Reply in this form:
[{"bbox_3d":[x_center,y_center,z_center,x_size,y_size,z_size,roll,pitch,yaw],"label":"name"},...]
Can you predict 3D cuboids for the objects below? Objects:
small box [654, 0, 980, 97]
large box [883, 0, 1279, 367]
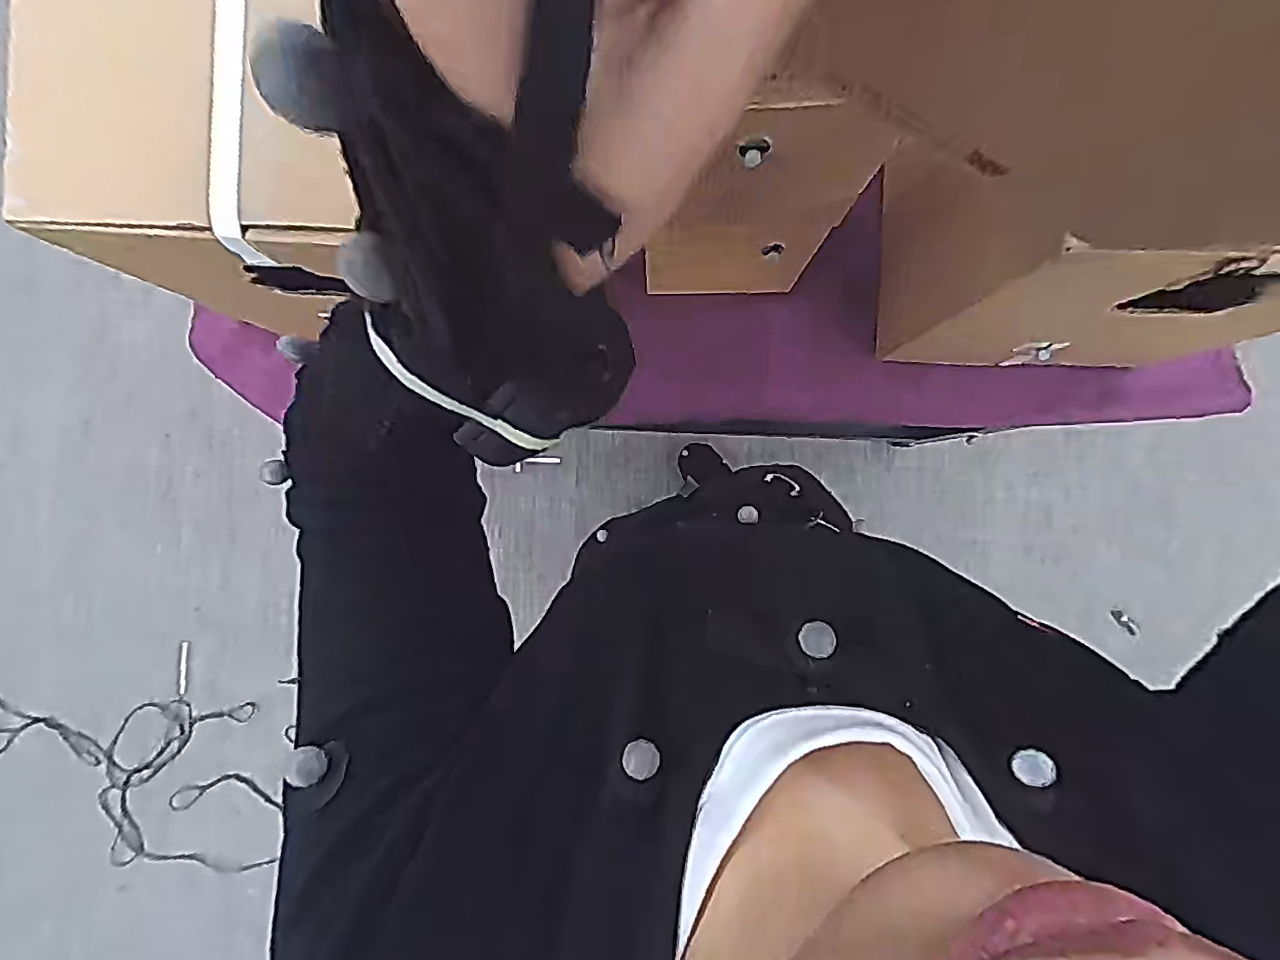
[{"bbox_3d":[0.086,-0.319,0.244,0.168,0.176,0.179,-3,90,1],"label":"small box"},{"bbox_3d":[0.435,-0.333,0.492,0.320,0.320,0.408,2,89,2],"label":"large box"}]
